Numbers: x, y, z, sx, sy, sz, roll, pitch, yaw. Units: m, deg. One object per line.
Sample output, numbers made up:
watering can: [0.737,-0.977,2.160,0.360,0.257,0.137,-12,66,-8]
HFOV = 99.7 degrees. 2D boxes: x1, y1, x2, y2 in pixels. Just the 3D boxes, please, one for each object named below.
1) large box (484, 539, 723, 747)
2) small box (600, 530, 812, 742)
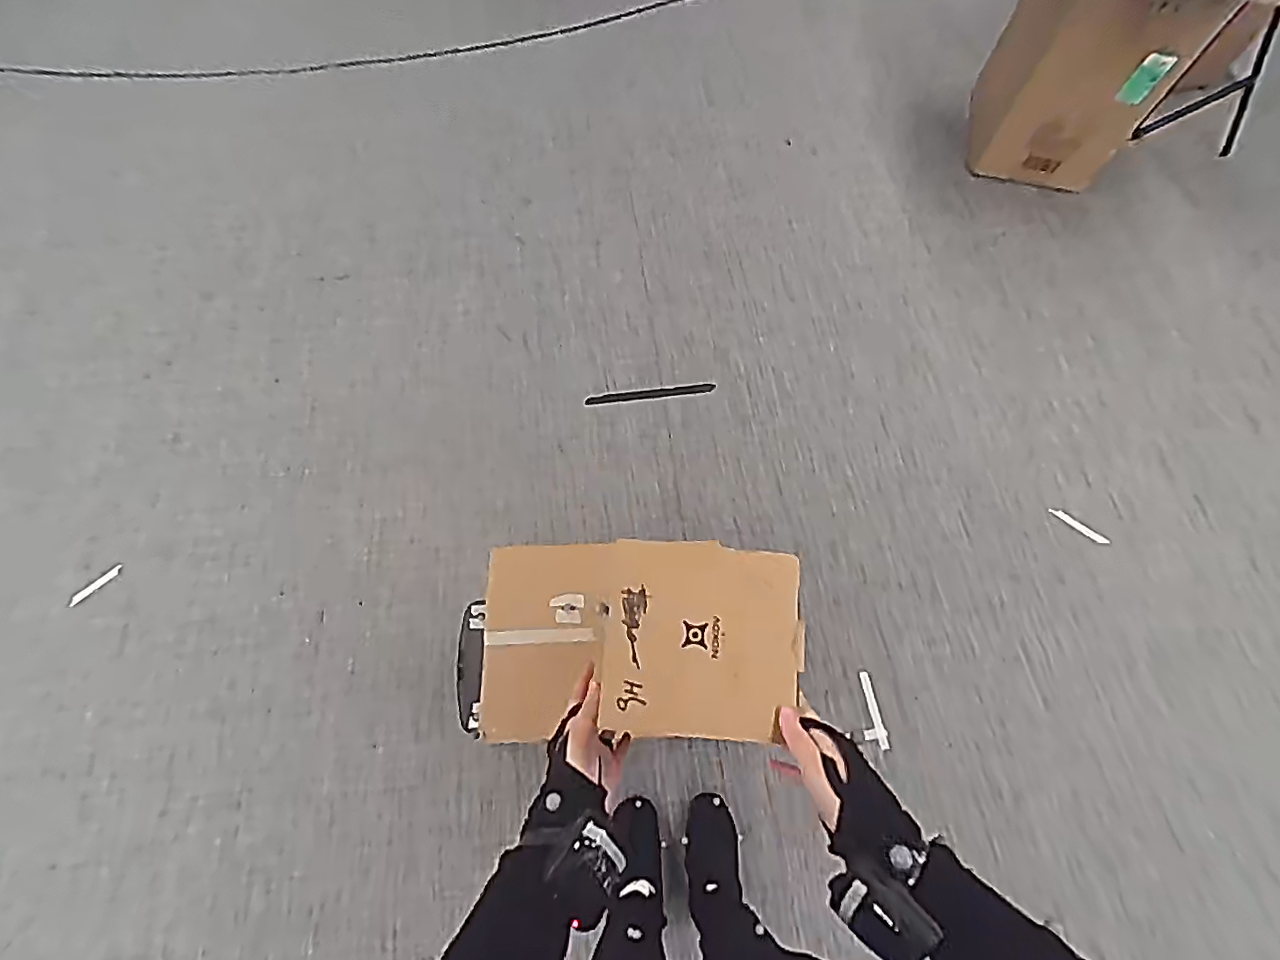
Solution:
large box: [-0.043,0.311,1.017,0.408,0.320,0.320,-2,66,0]
small box: [0.056,0.154,0.544,0.179,0.176,0.168,6,73,-3]
